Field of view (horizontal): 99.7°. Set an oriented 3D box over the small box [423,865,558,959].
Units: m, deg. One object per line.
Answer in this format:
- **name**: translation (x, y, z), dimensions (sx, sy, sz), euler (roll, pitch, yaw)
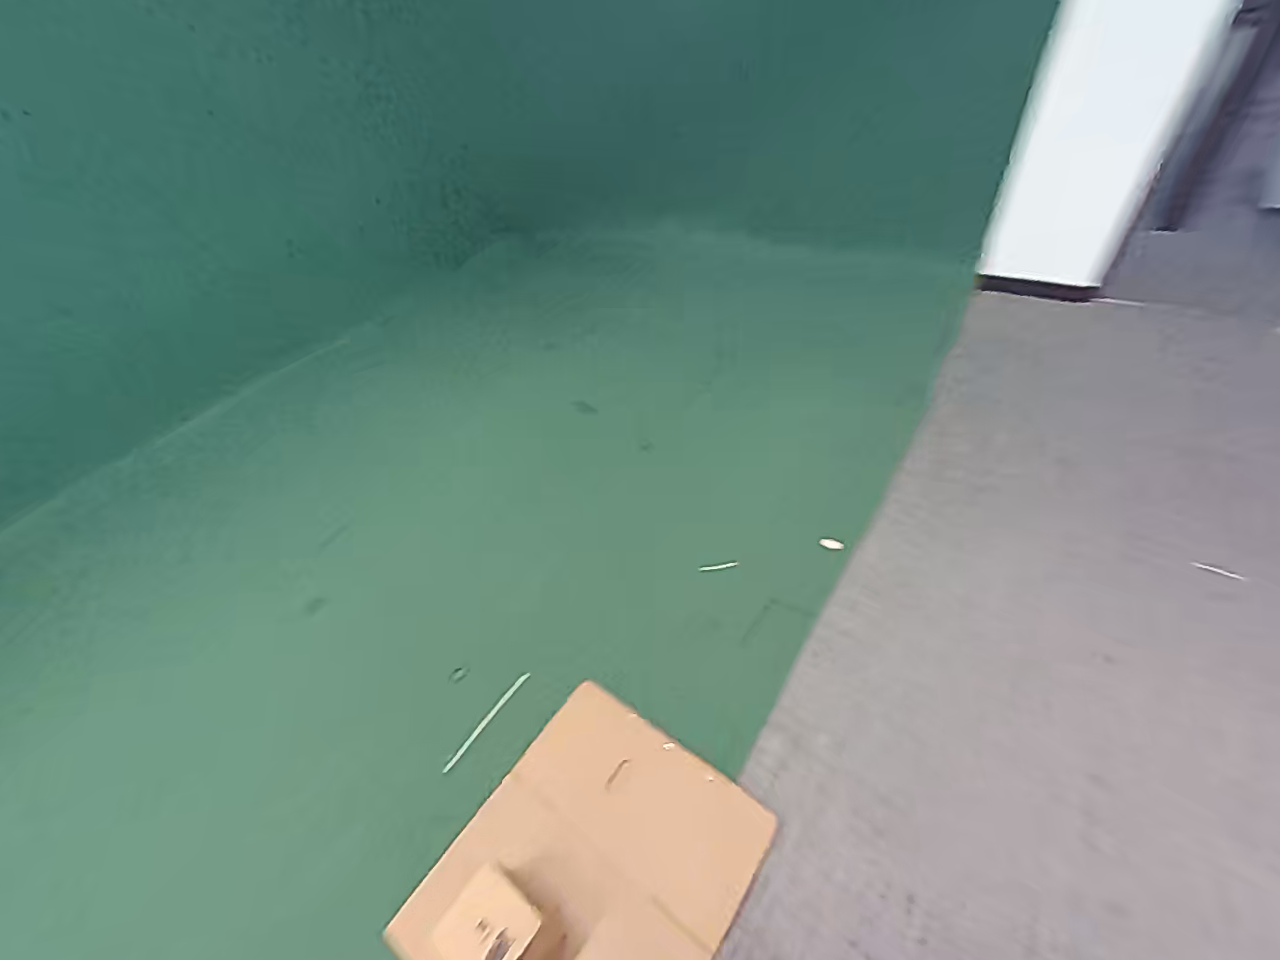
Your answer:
- **small box**: translation (-0.291, 0.927, 1.089), dimensions (0.179, 0.176, 0.168), euler (24, 55, 31)
